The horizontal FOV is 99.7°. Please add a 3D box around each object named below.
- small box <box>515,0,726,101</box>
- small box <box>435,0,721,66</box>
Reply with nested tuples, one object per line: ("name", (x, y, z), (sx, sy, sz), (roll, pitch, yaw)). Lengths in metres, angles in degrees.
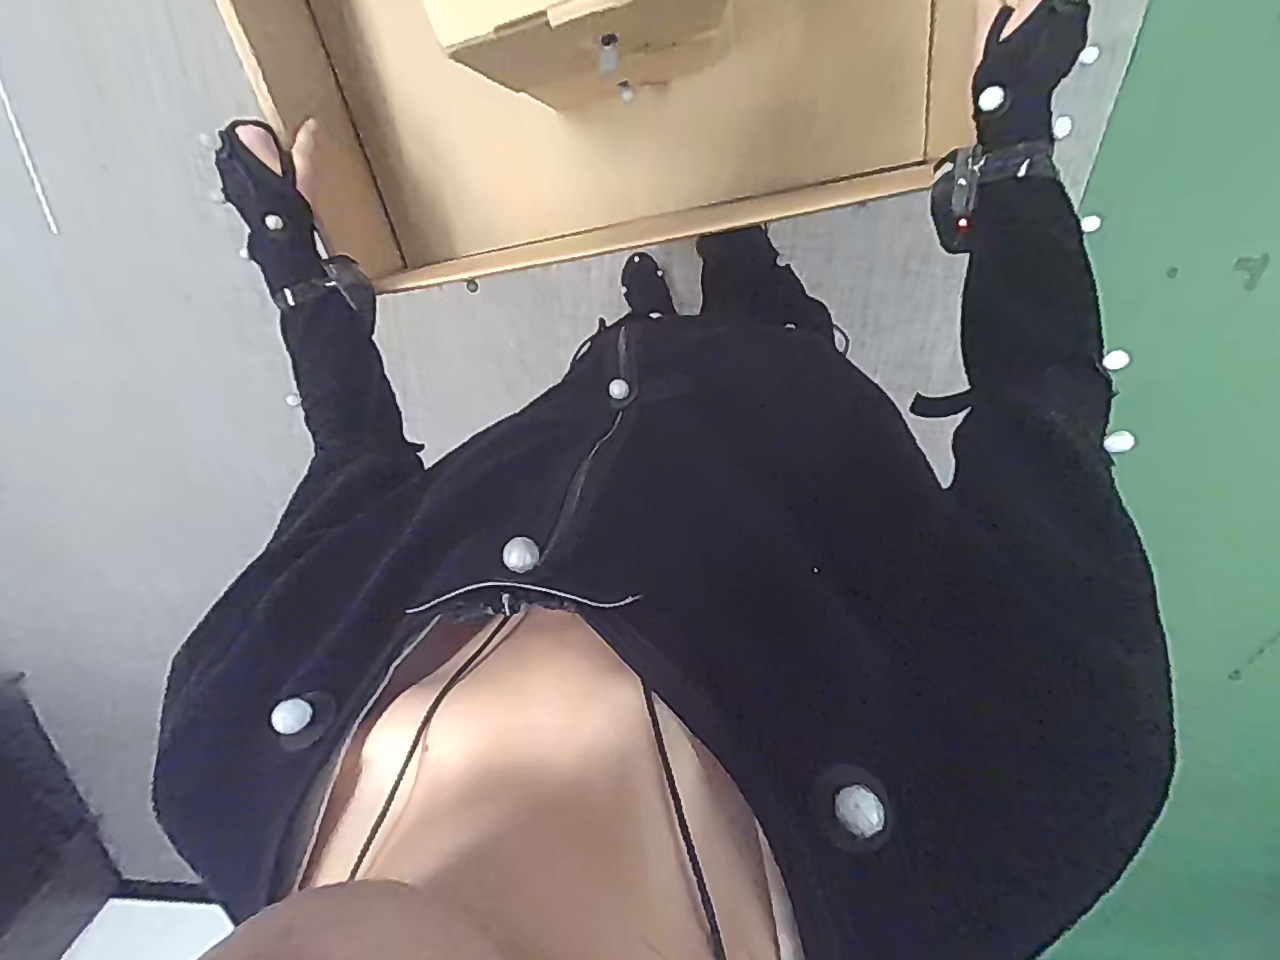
("small box", (-0.028, -0.439, 0.441), (0.168, 0.176, 0.179), (-9, 118, 8))
("small box", (-0.039, -0.358, 0.298), (0.168, 0.176, 0.179), (-11, 118, 8))
